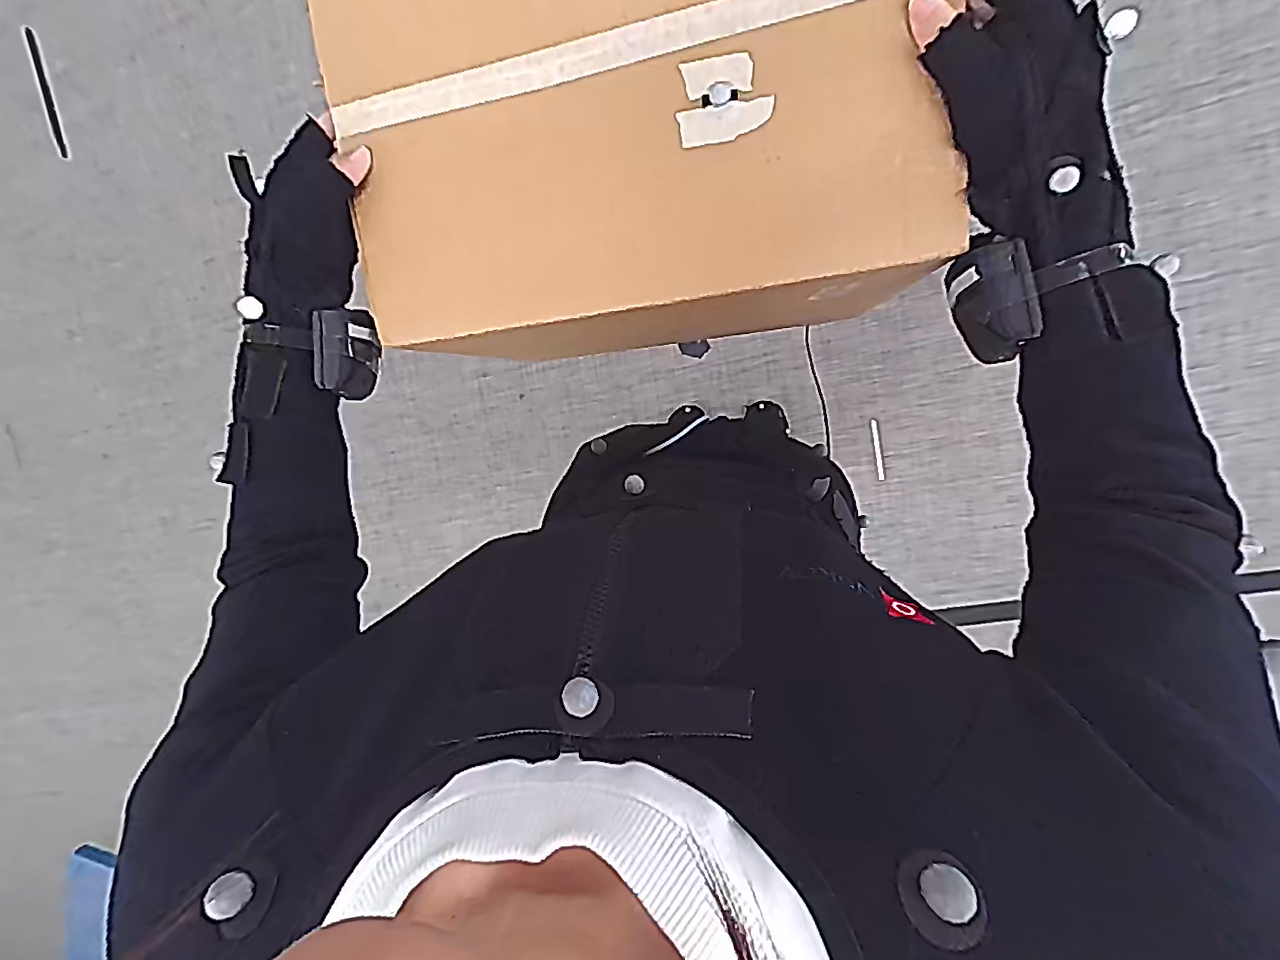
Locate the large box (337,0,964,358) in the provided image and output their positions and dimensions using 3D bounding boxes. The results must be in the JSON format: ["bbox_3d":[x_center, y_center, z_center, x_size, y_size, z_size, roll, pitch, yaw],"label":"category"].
[{"bbox_3d":[0.014,-0.304,0.500,0.408,0.320,0.320,-6,99,11],"label":"large box"}]
